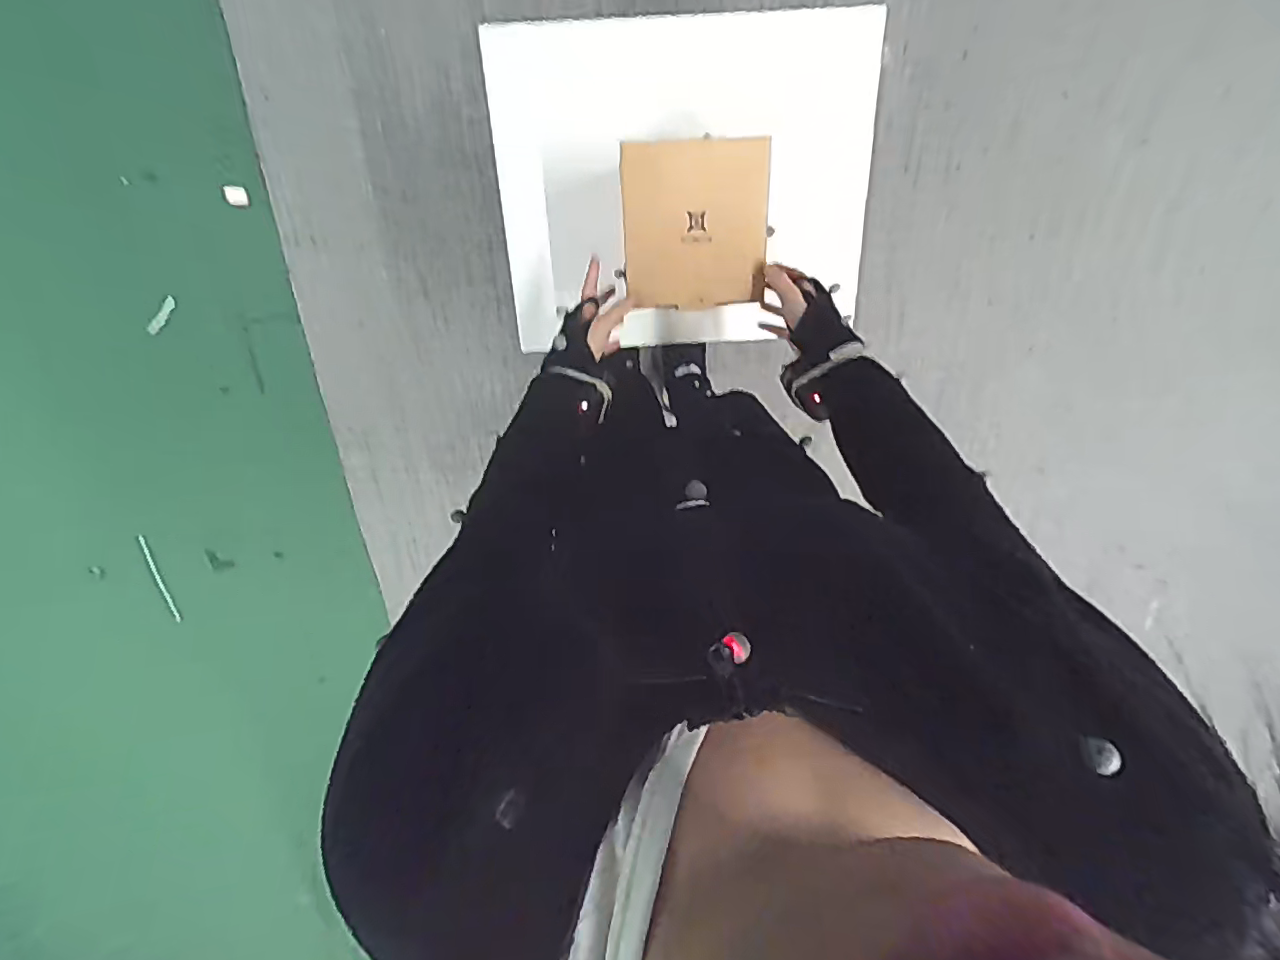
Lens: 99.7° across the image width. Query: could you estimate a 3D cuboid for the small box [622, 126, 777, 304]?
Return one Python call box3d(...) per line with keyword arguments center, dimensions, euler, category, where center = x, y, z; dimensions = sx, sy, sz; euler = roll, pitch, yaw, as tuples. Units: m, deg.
box3d(center=(0.064, -0.318, 0.673), dimensions=(0.168, 0.176, 0.179), euler=(-3, 113, 0), category="small box")
